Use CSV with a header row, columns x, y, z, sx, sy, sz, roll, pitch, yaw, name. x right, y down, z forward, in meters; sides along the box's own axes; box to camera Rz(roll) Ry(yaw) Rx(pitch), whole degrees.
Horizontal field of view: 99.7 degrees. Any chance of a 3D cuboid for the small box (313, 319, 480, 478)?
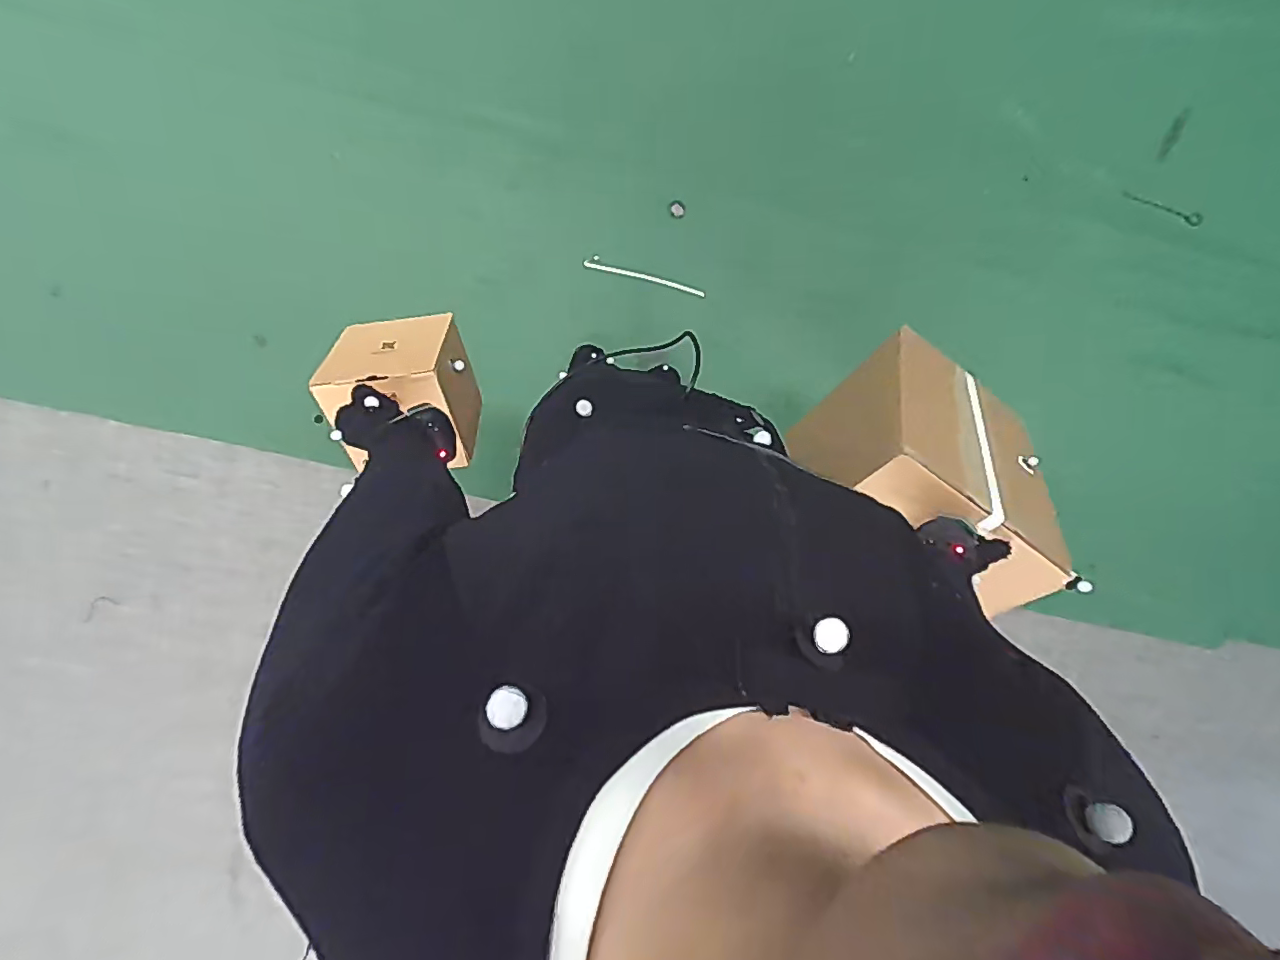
x,y,z,sx,sy,sz,roll,pitch,yaw,name
-0.355,-0.125,0.831,0.168,0.179,0.176,-7,132,-1,small box
